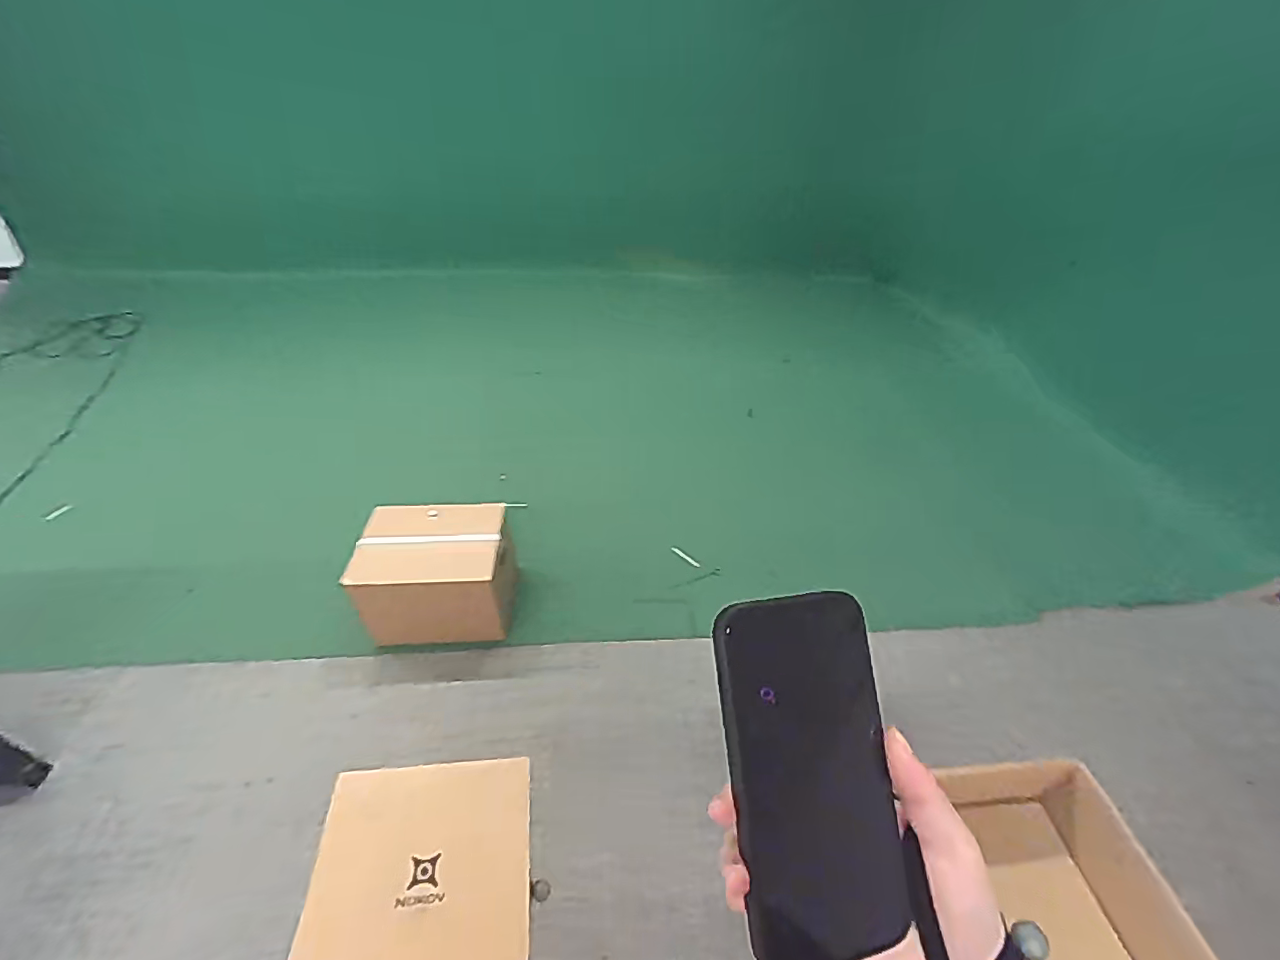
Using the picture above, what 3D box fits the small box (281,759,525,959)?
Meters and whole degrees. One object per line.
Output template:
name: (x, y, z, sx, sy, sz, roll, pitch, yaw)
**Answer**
small box: (-0.188, 0.373, 0.471, 0.168, 0.176, 0.179, 1, 40, -12)
